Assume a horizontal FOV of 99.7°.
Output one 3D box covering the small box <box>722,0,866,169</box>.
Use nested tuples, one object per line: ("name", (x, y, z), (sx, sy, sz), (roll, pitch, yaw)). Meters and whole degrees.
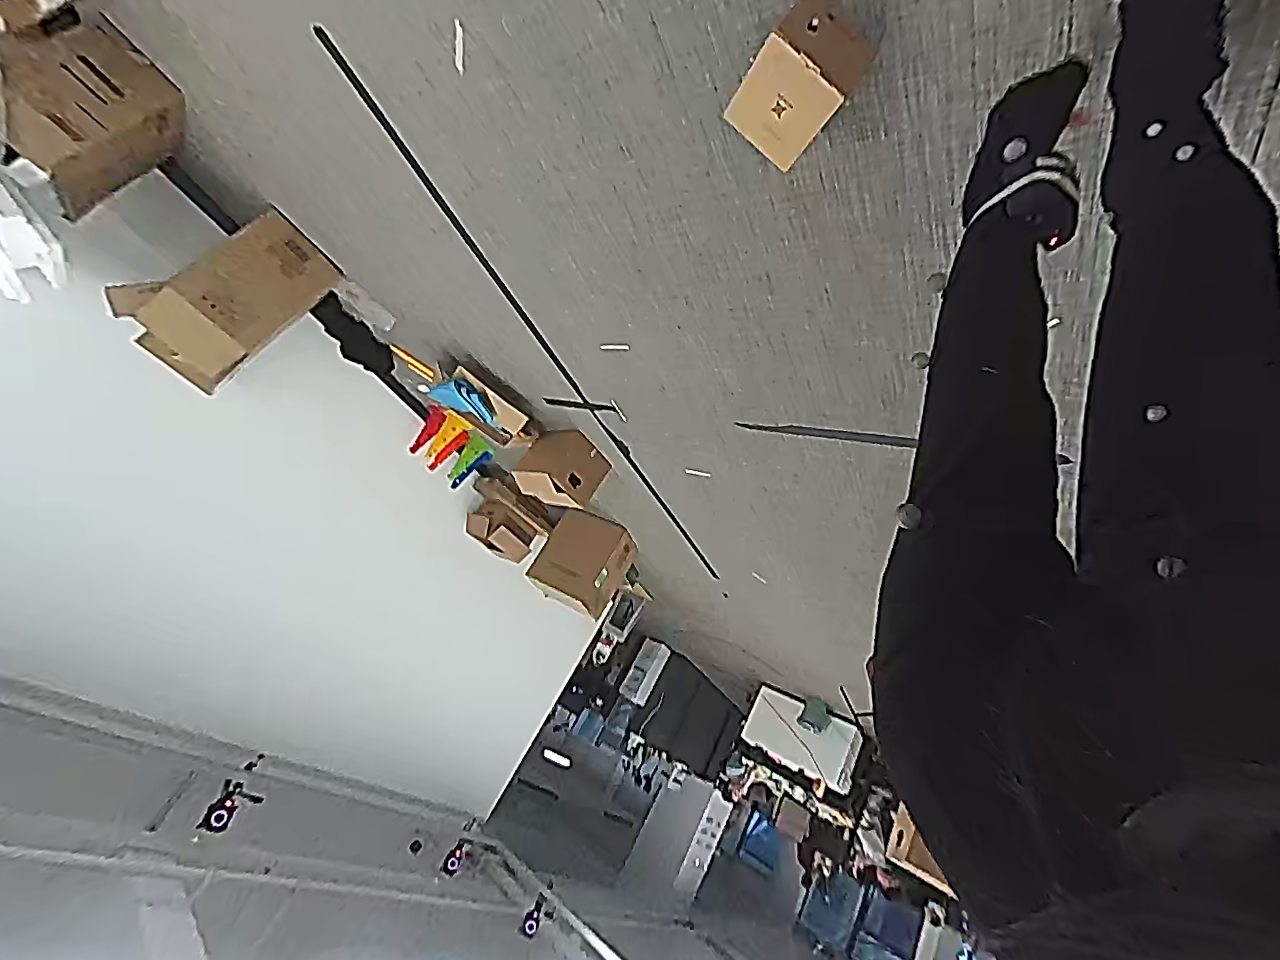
("small box", (0.287, -0.735, 0.995), (0.168, 0.176, 0.179), (37, 158, -8))
